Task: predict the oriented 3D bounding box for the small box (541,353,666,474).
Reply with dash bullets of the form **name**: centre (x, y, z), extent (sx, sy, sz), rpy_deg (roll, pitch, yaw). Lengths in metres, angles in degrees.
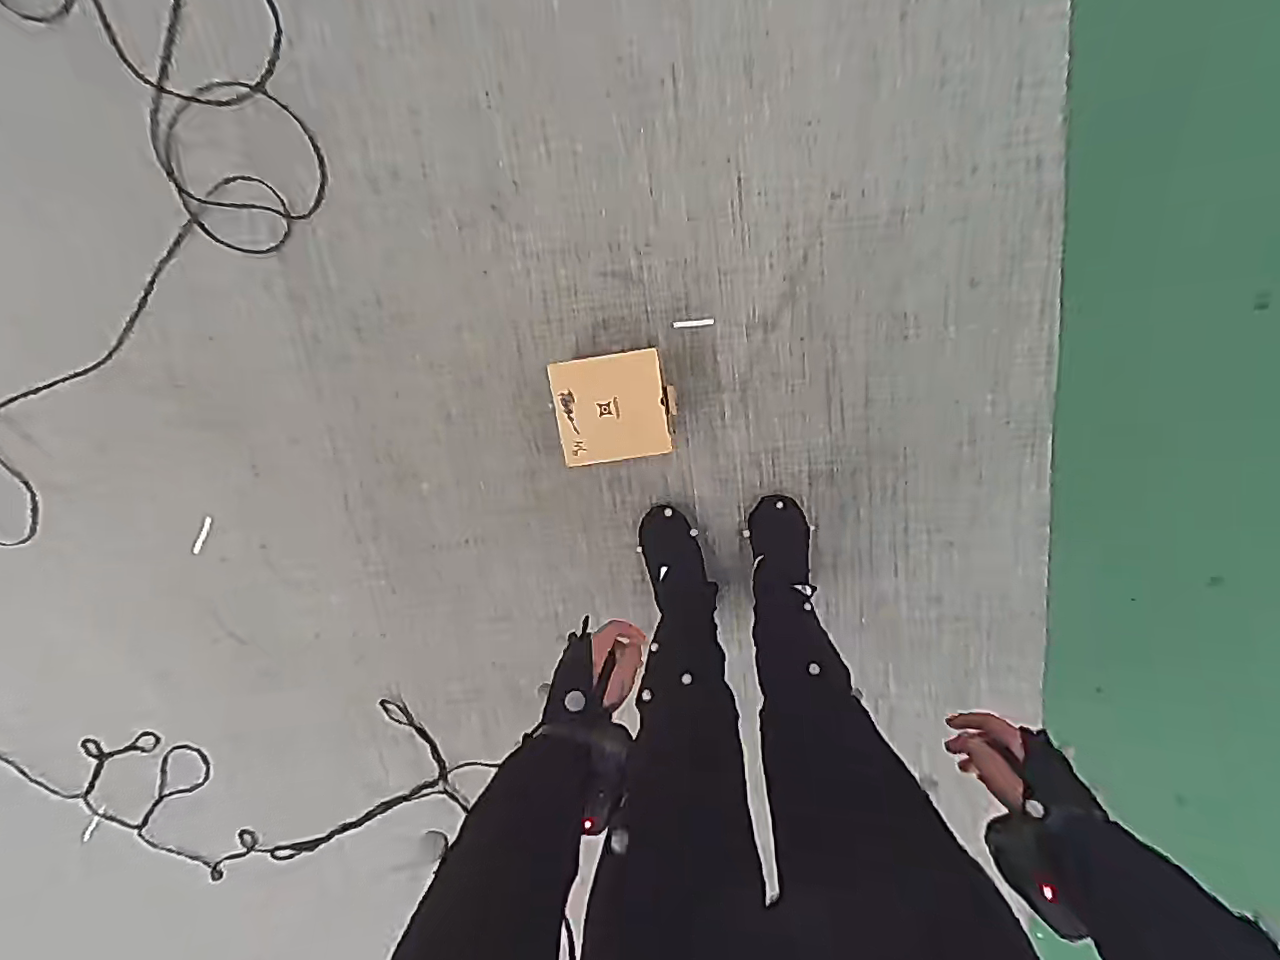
- **small box**: centre (-0.054, -0.120, 0.918), extent (0.179, 0.176, 0.168), rpy_deg (-8, 104, 5)
